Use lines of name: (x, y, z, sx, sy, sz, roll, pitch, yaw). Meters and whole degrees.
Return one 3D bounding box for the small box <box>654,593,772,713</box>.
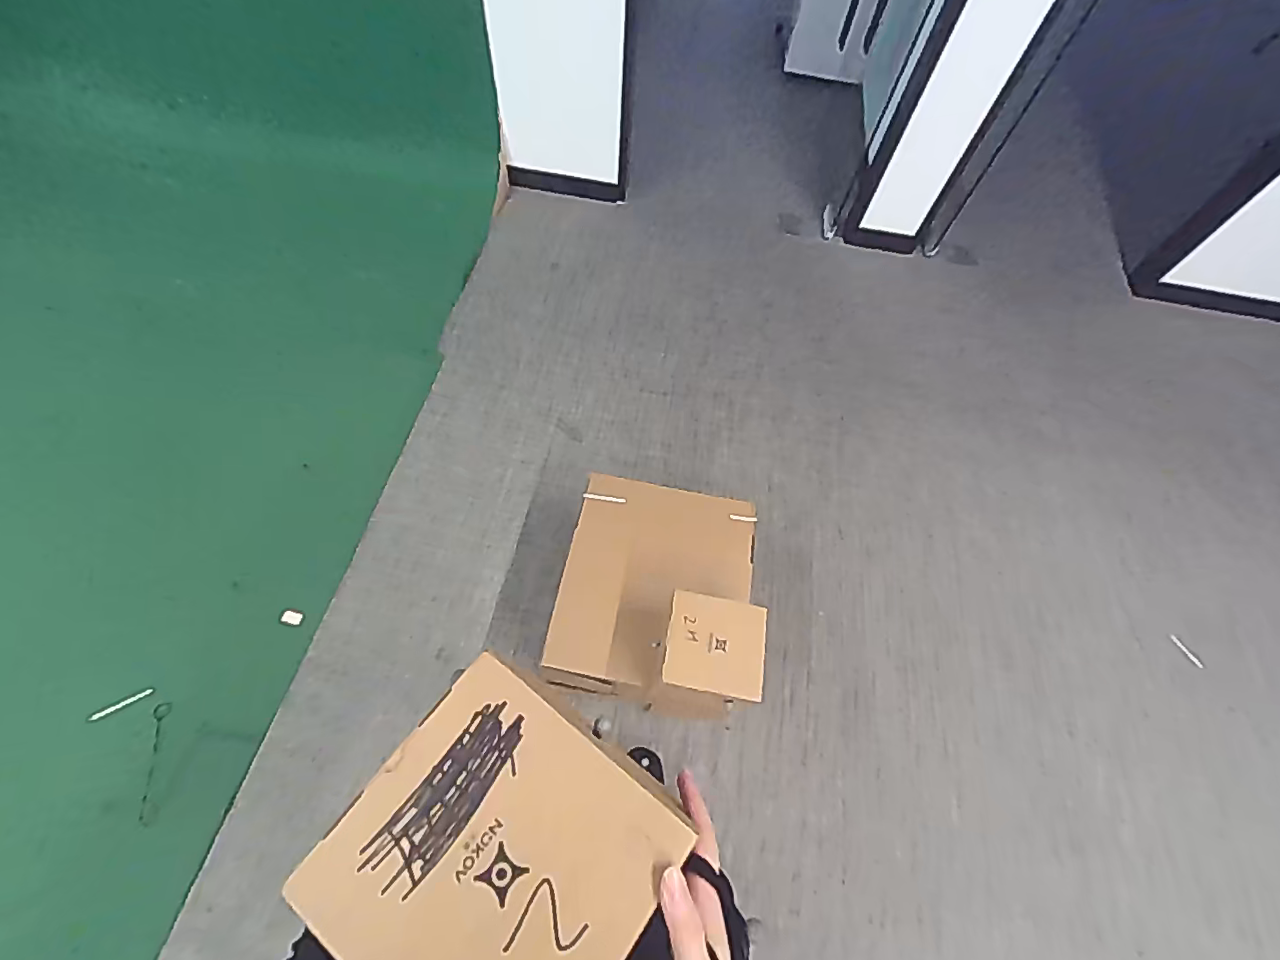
small box: (0.132, 0.329, 1.010, 0.179, 0.176, 0.168, 12, 60, 2)
